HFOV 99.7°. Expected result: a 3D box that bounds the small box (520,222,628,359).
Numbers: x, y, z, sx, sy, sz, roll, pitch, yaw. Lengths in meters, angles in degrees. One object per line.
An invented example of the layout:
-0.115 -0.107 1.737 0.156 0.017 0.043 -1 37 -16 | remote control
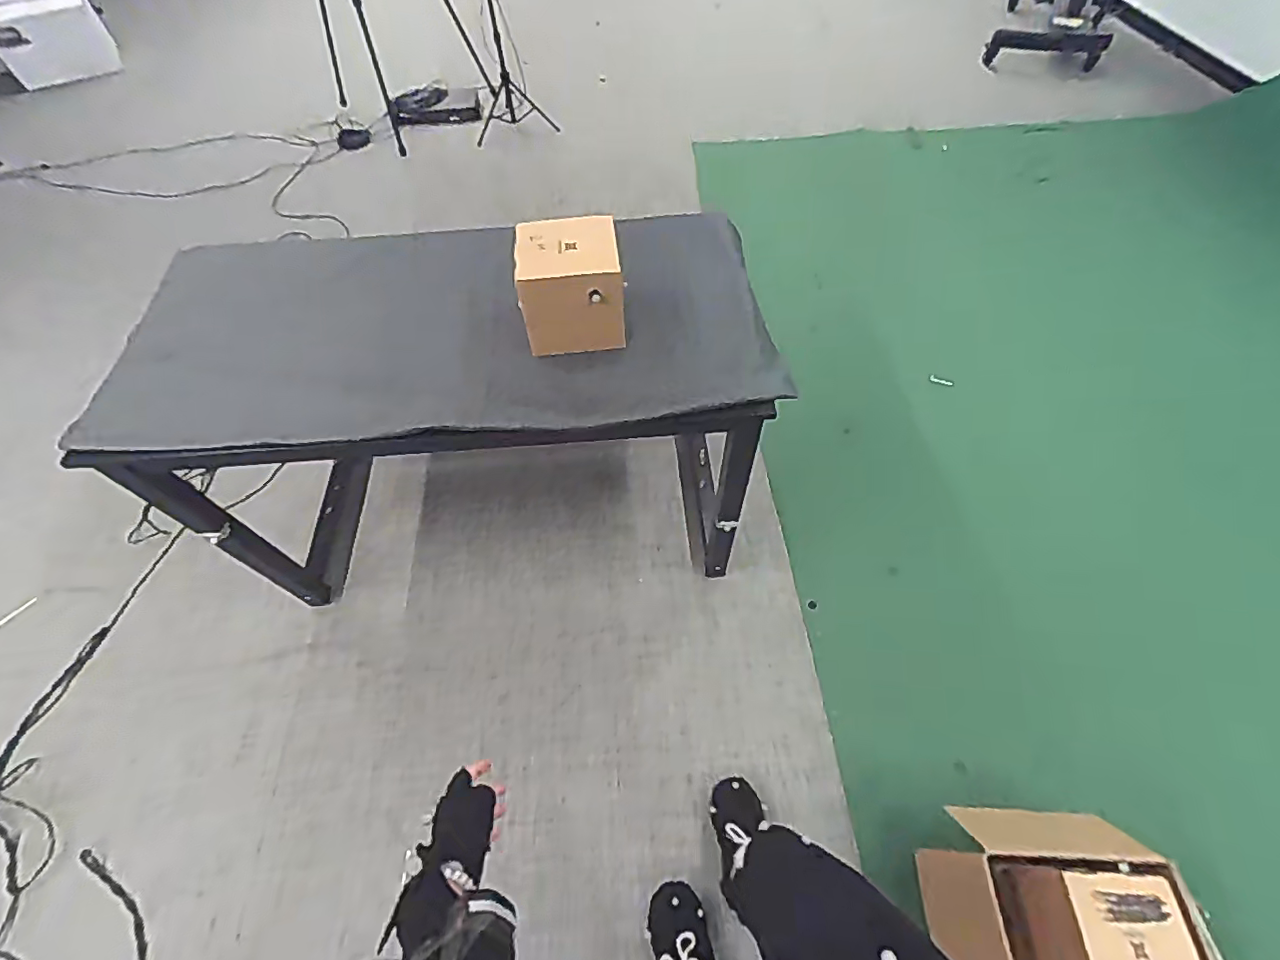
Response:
-0.115 -0.343 0.990 0.179 0.176 0.168 -6 56 -2 | small box
